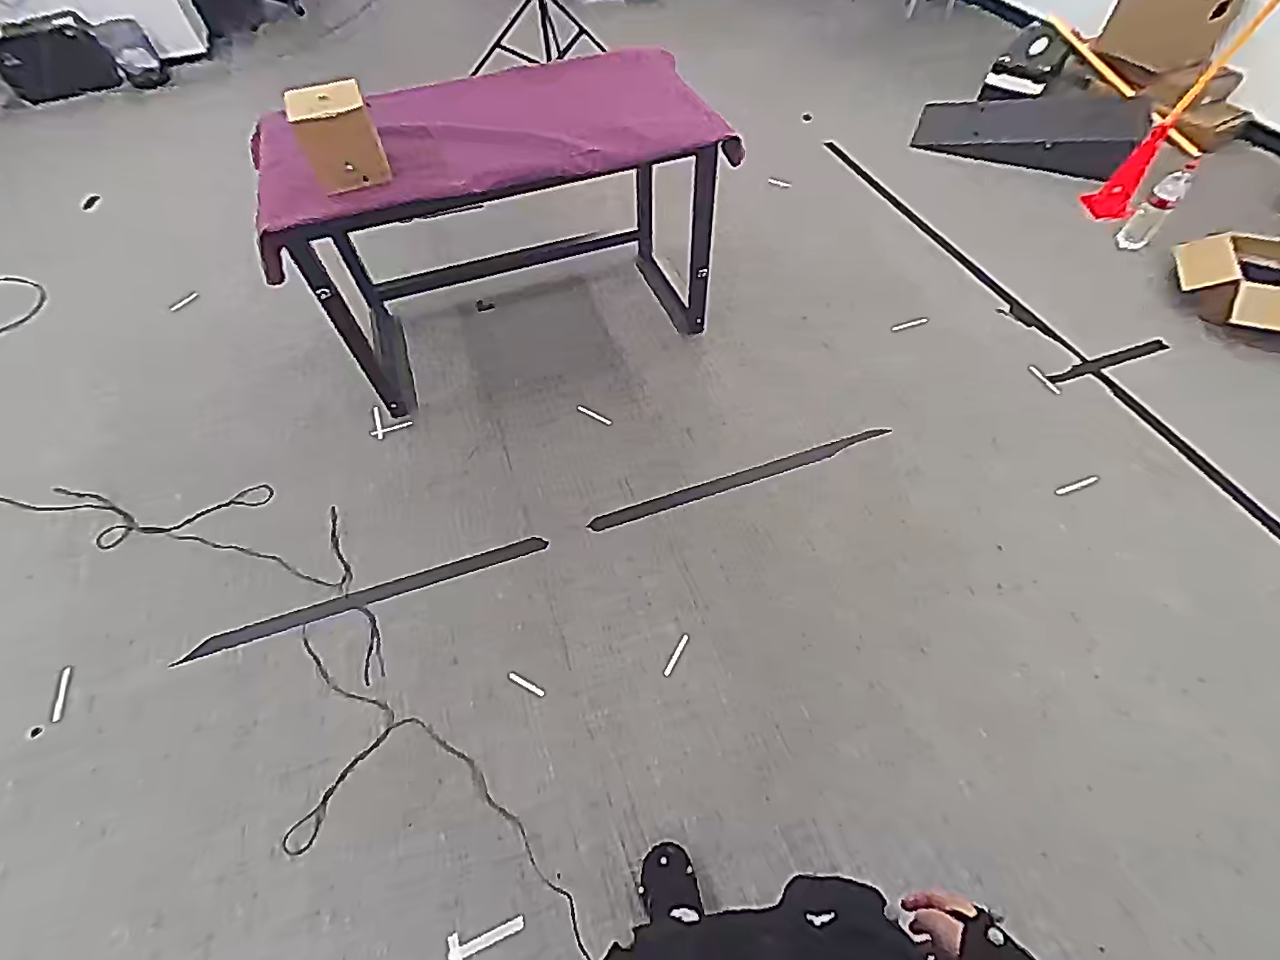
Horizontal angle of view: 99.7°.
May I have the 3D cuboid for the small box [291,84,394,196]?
[{"bbox_3d":[-0.727,-0.833,1.330,0.168,0.176,0.179,-20,58,-11],"label":"small box"}]
